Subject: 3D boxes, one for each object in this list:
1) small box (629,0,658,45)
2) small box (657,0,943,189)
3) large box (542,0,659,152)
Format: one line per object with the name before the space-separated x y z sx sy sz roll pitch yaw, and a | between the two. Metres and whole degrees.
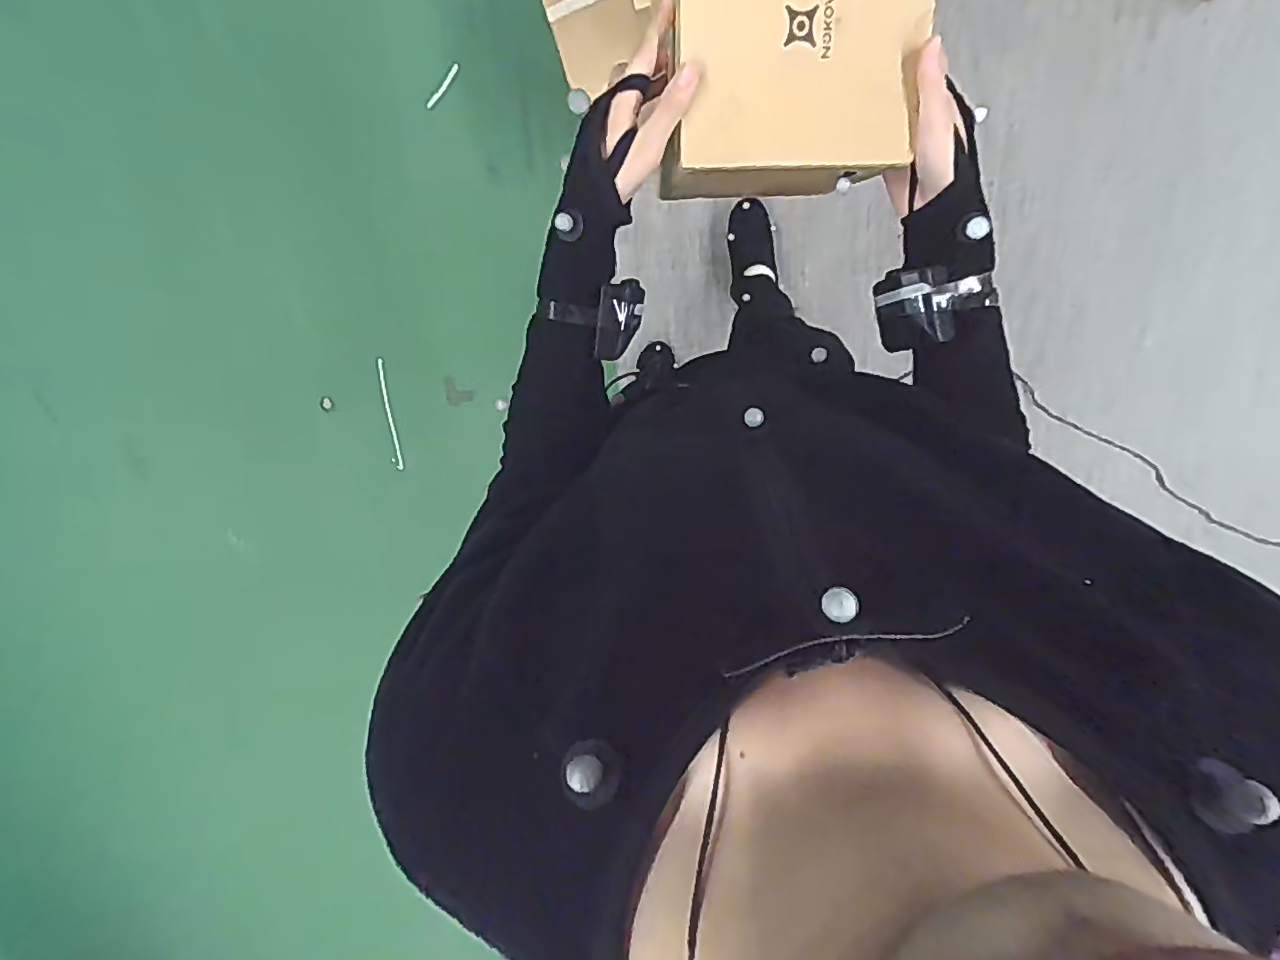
small box | 0.058 -0.826 0.847 0.168 0.176 0.179 -12 108 6
small box | 0.107 -0.336 0.427 0.179 0.176 0.168 -4 110 -5
large box | 0.037 -0.924 1.077 0.408 0.320 0.320 -16 106 10
